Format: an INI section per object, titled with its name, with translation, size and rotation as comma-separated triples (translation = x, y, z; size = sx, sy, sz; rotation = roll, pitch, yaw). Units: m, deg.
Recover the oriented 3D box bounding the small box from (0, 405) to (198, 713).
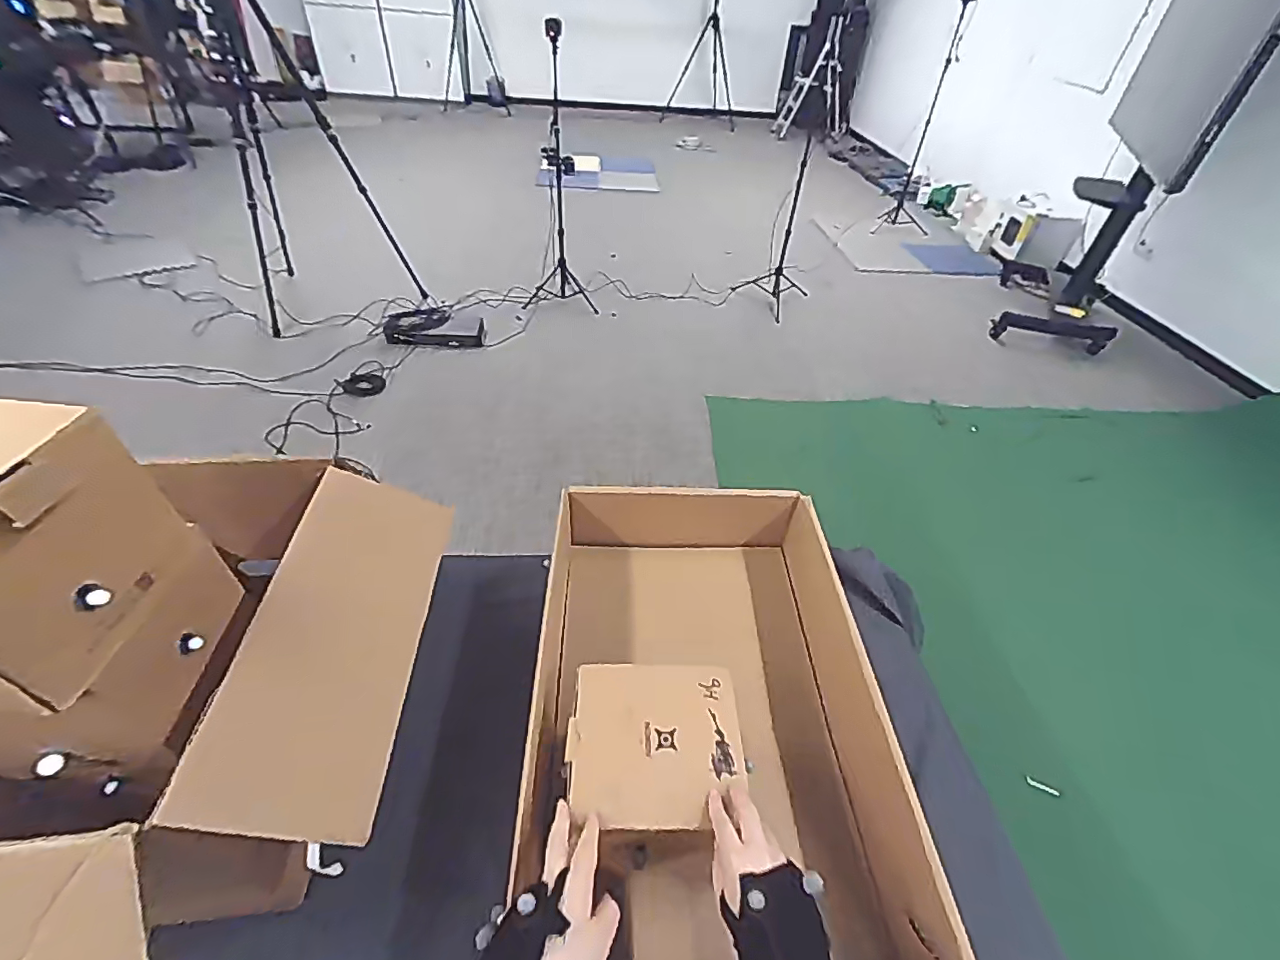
[small box]
translation = -0.503, 0.058, 0.407
size = 0.179, 0.176, 0.168
rotation = 5, 43, -1
